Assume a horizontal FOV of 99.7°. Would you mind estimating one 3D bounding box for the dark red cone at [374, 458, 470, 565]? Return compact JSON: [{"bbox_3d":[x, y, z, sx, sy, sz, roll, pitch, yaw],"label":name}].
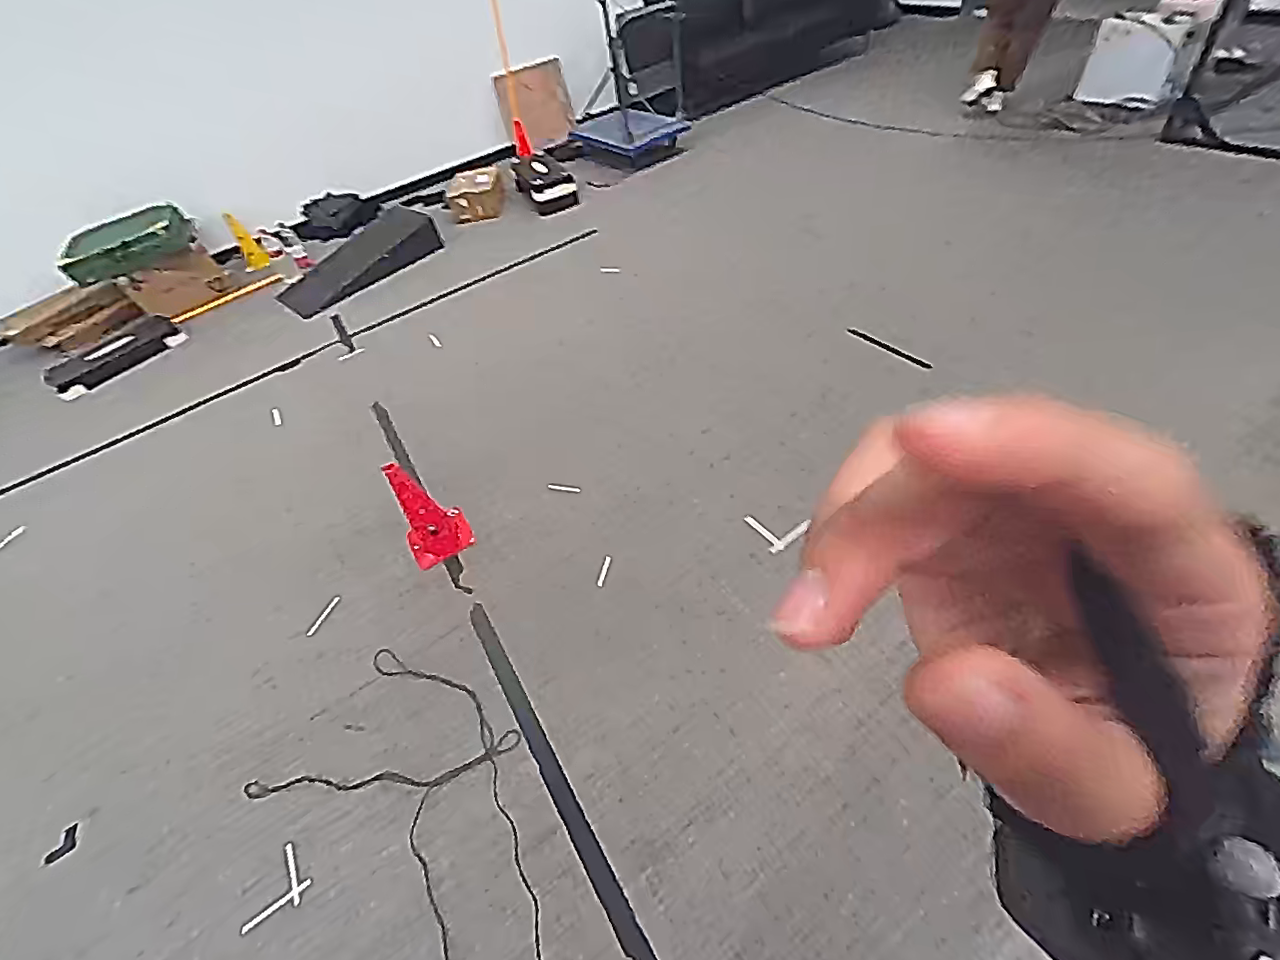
[{"bbox_3d":[-0.718,0.073,1.706,0.201,0.394,0.202,-32,50,-16],"label":"dark red cone"}]
